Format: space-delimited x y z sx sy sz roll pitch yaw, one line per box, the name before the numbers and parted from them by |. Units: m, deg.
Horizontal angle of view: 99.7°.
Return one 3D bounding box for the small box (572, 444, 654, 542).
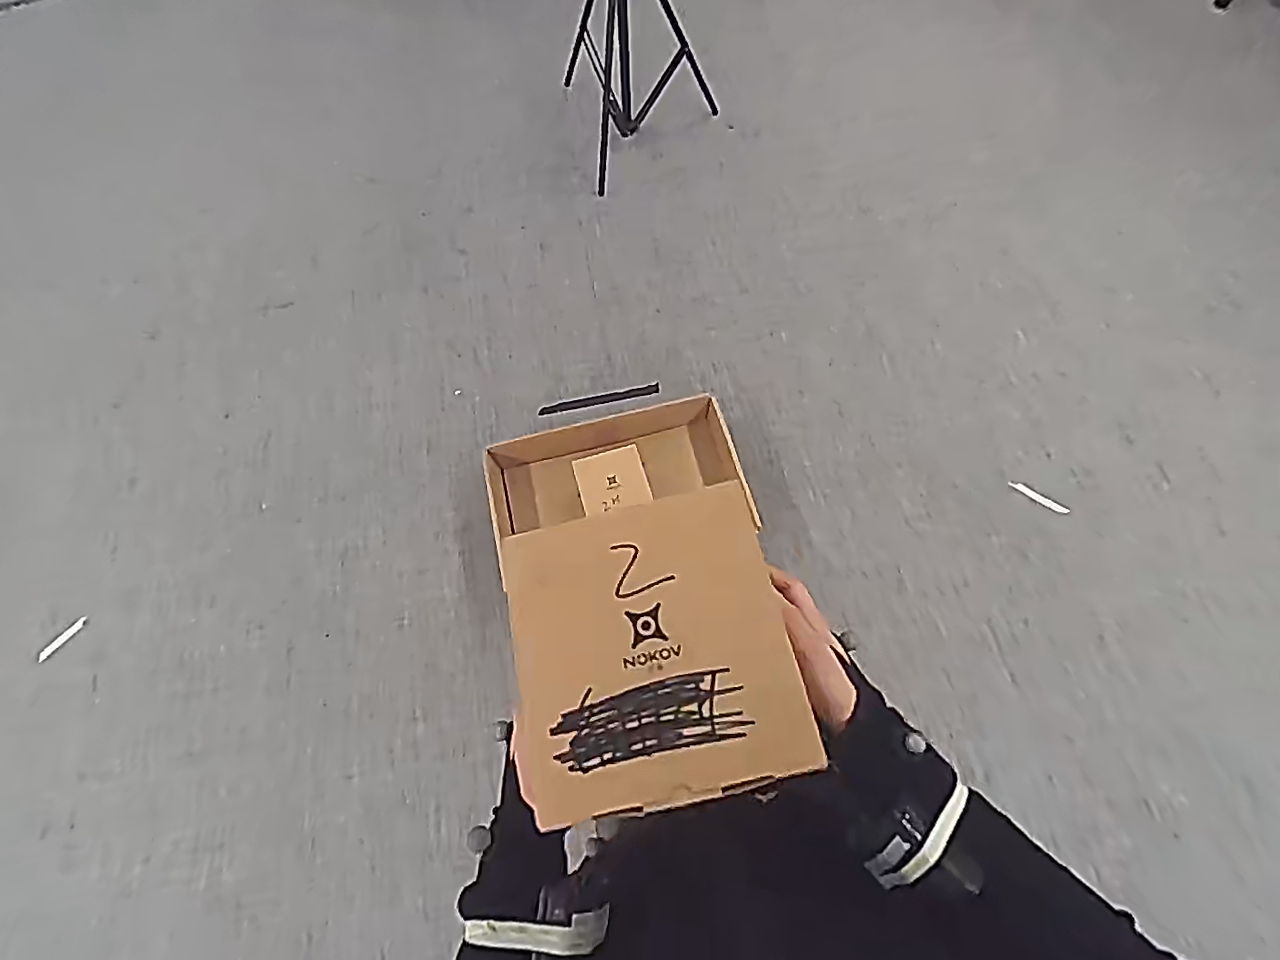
small box | -0.067 0.038 1.370 0.168 0.176 0.179 -16 69 -5
